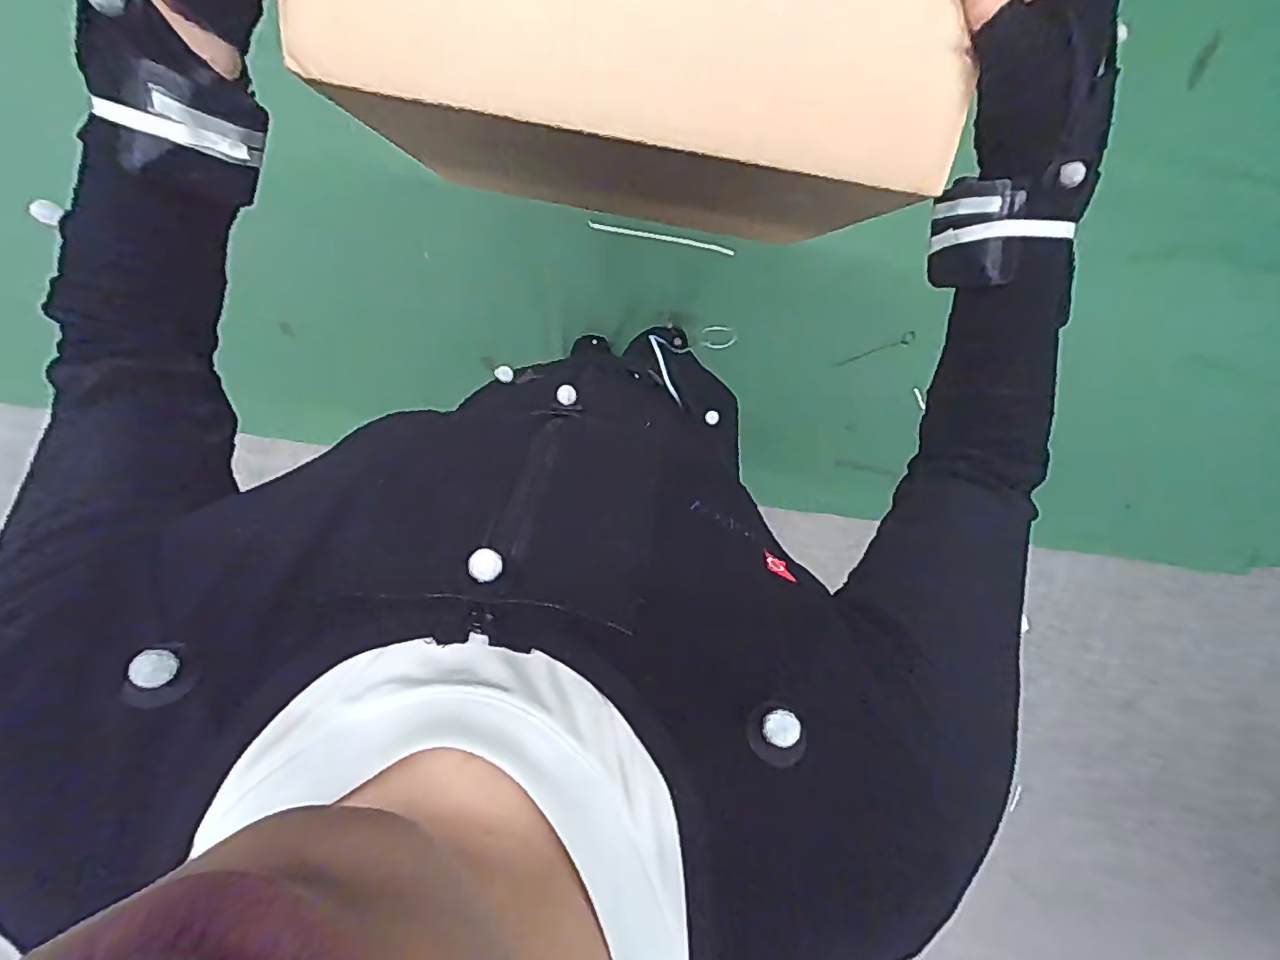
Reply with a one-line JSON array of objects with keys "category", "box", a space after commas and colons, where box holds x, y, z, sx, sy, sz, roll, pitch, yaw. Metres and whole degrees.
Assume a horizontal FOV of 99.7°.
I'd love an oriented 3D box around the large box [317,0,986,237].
[{"category": "large box", "box": [0.015, -0.407, 0.440, 0.408, 0.320, 0.320, 7, 108, -5]}]
